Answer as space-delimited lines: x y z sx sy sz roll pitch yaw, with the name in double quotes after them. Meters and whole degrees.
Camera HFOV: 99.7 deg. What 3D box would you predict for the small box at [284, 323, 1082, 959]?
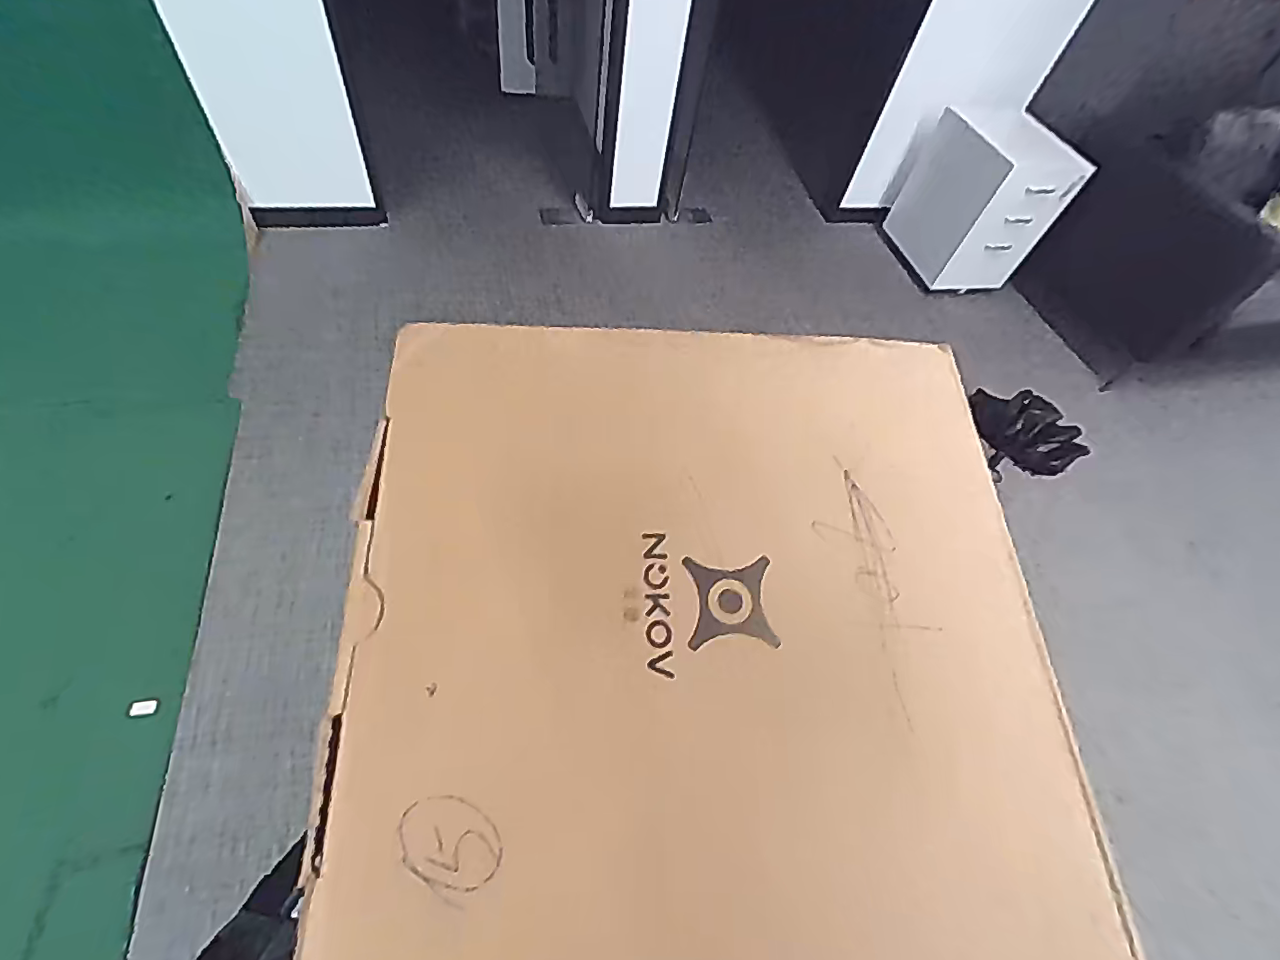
0.004 0.059 0.217 0.179 0.176 0.168 0 68 -8 "small box"
